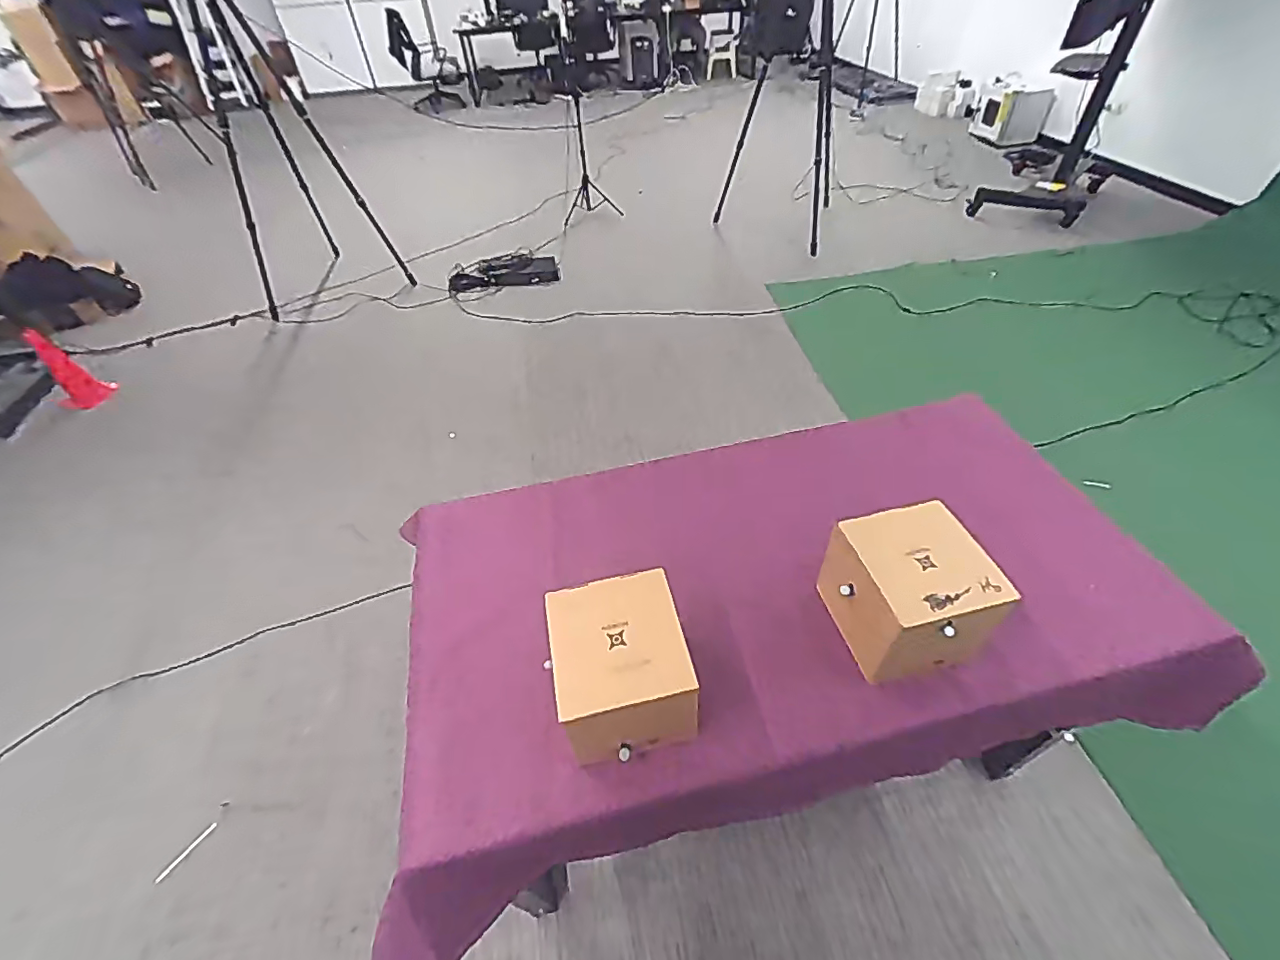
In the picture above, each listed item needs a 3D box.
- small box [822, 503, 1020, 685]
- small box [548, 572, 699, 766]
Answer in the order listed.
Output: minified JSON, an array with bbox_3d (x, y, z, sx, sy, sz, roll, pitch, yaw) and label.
[{"bbox_3d":[0.384,0.164,0.781,0.168,0.176,0.179,-12,46,-6],"label":"small box"},{"bbox_3d":[-0.024,0.254,0.729,0.168,0.176,0.179,-11,47,-5],"label":"small box"}]
